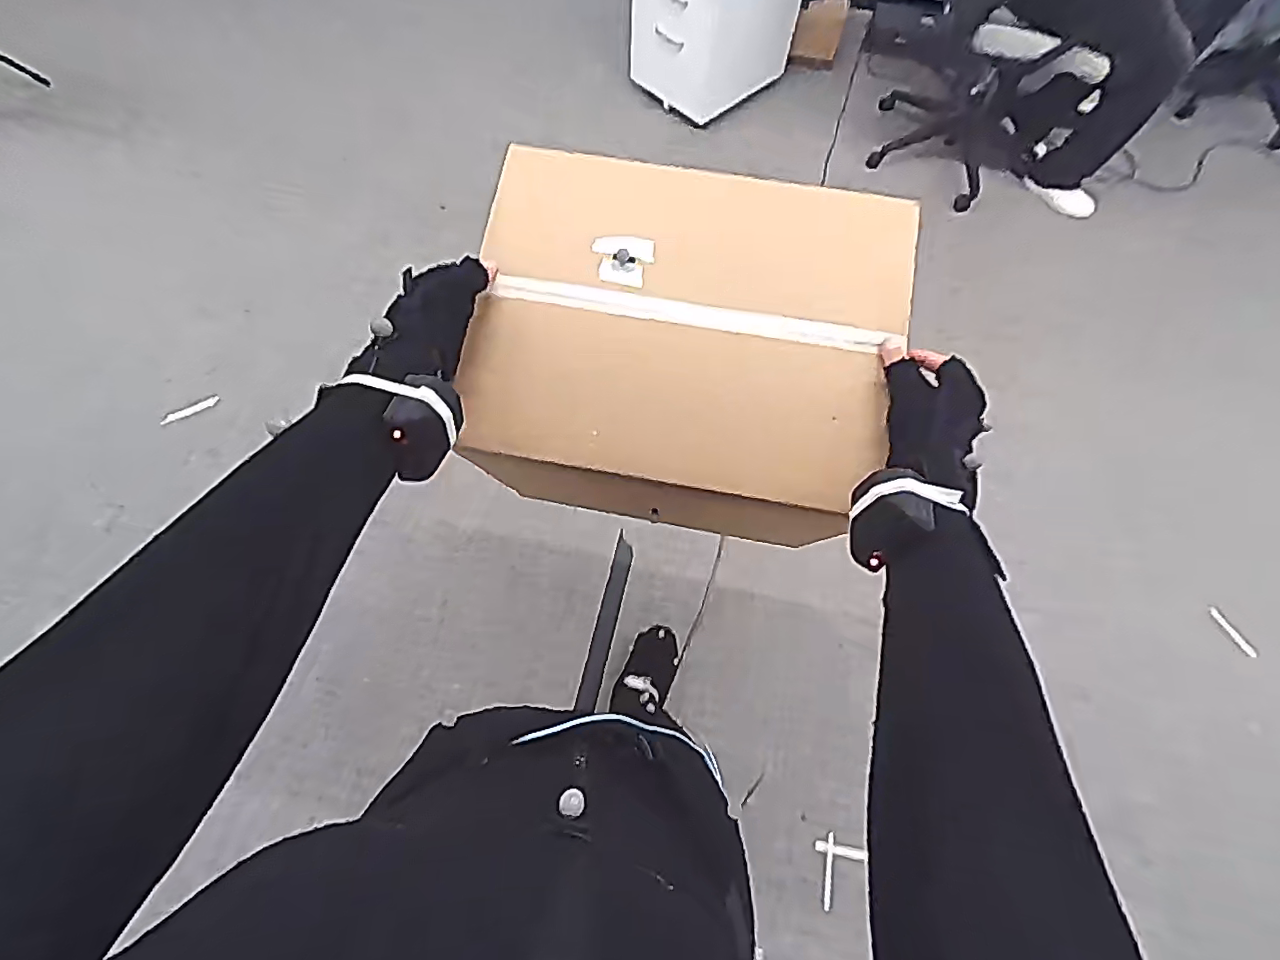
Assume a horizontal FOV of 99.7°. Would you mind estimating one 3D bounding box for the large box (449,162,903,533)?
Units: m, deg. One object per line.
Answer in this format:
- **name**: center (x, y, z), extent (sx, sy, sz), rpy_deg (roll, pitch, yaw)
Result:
- **large box**: center (0.048, -0.126, 0.664), extent (0.408, 0.320, 0.320), rpy_deg (10, 79, 5)
